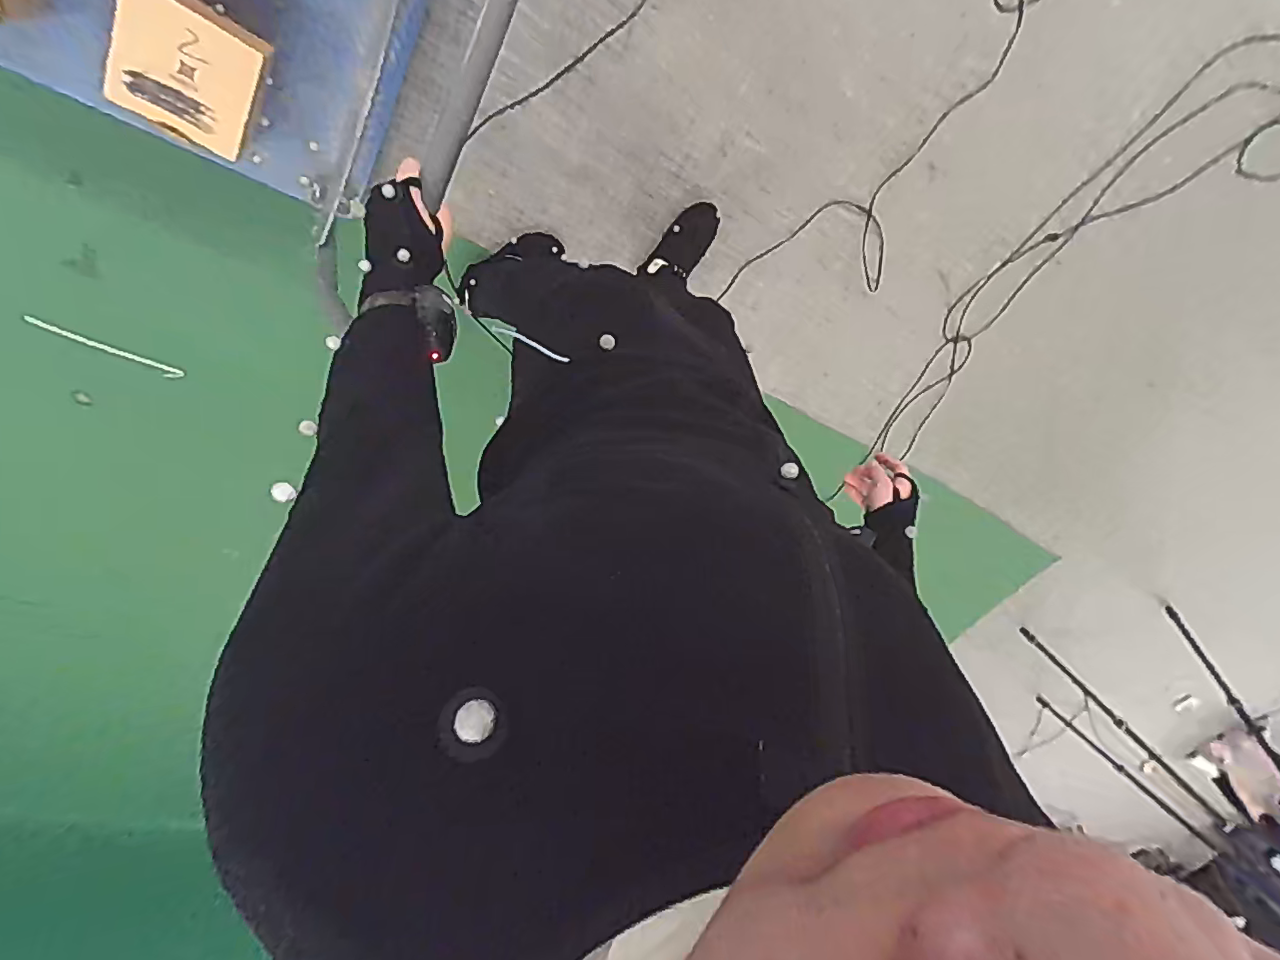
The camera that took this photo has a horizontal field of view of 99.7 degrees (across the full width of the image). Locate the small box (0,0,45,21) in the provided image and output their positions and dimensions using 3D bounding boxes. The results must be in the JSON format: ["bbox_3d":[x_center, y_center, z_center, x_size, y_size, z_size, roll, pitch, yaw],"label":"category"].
[{"bbox_3d":[-0.914,-0.744,0.697,0.179,0.176,0.168,12,123,-33],"label":"small box"}]
